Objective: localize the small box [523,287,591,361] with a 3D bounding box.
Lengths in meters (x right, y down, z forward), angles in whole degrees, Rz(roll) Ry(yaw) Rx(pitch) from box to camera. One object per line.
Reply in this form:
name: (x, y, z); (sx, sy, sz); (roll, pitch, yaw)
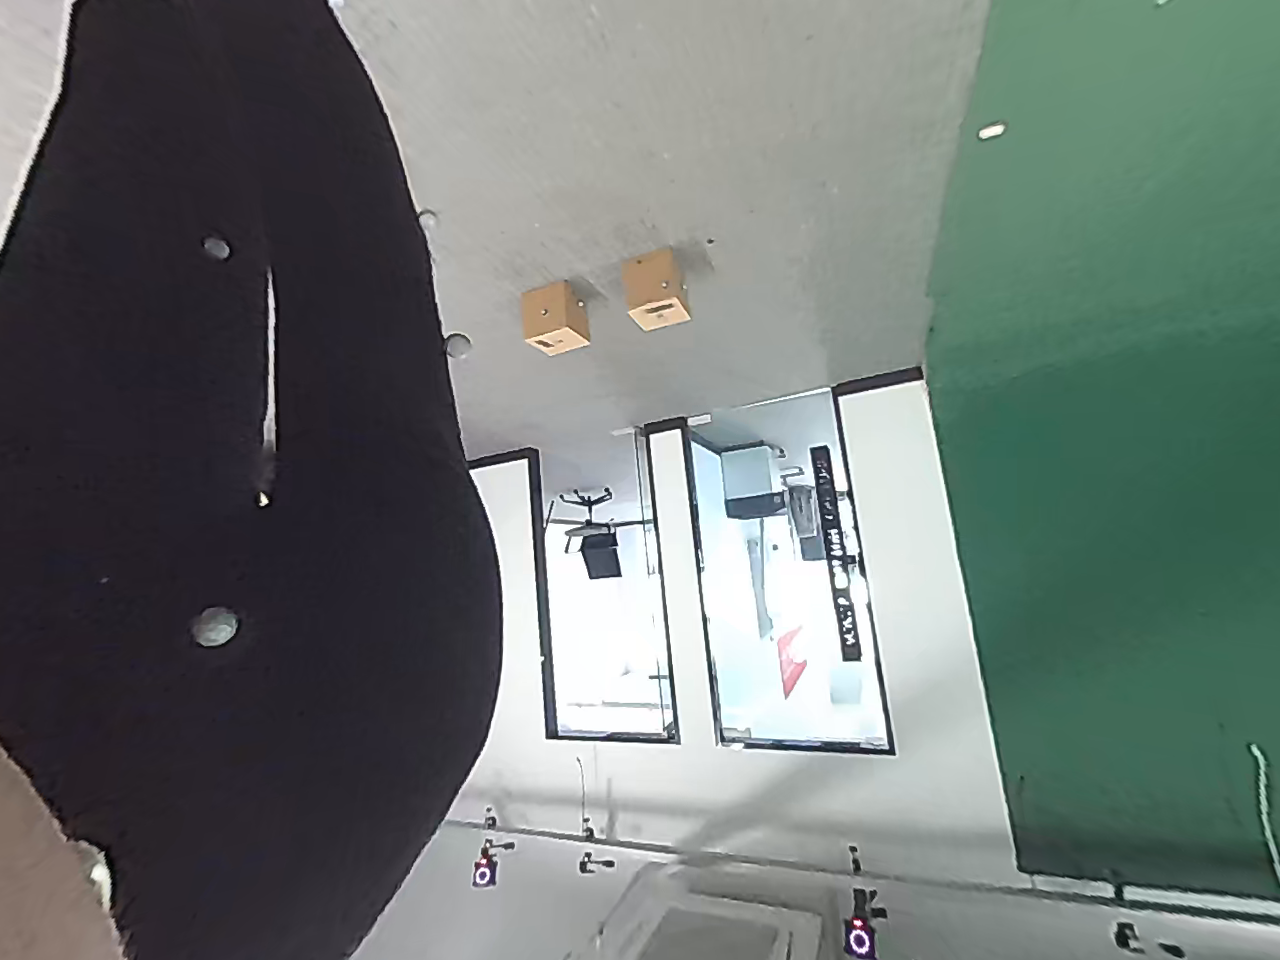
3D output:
small box: (-0.285, -0.531, 1.850); (0.179, 0.176, 0.168); (-10, 170, 23)
